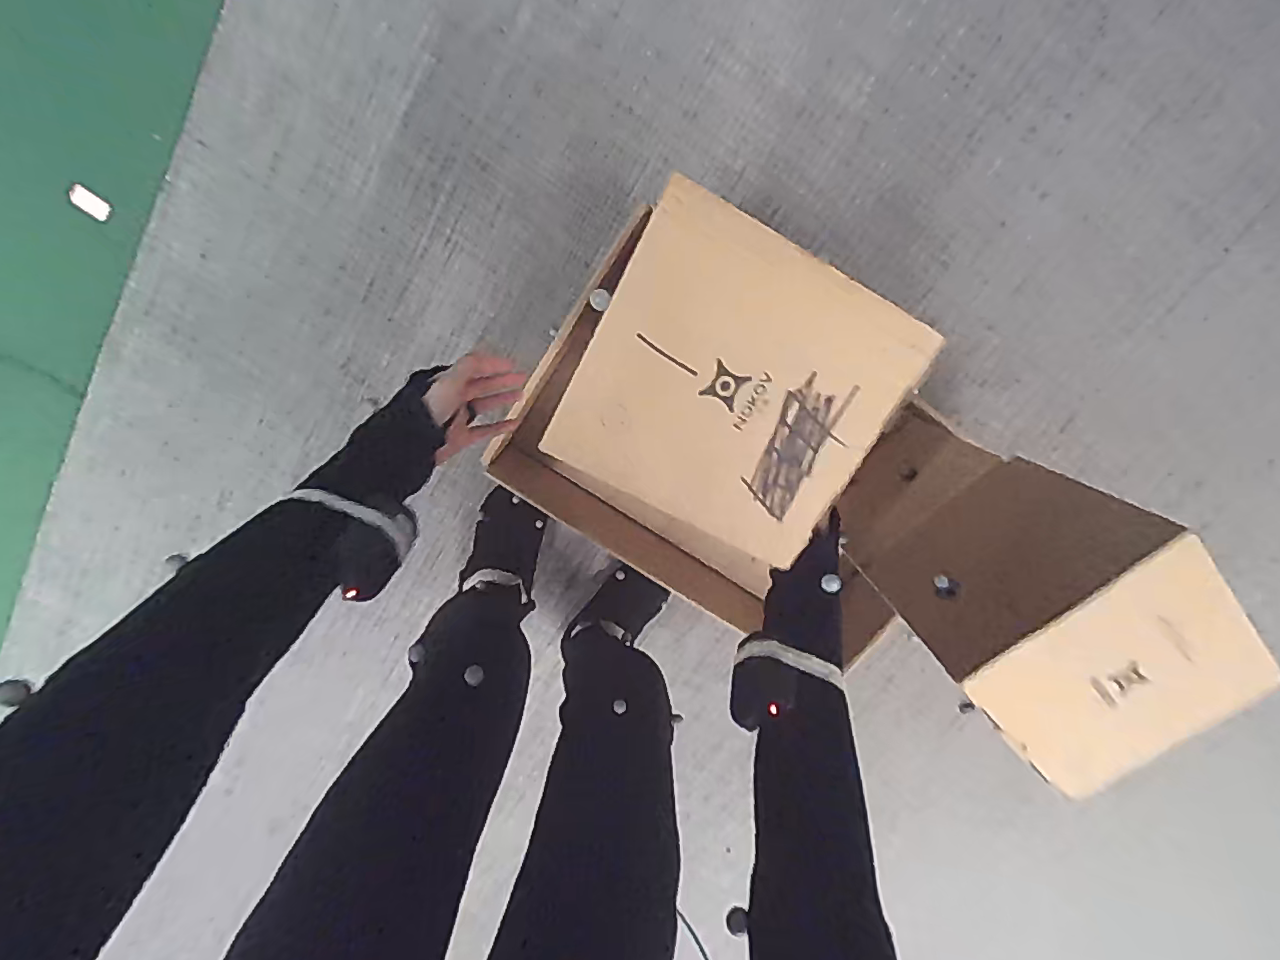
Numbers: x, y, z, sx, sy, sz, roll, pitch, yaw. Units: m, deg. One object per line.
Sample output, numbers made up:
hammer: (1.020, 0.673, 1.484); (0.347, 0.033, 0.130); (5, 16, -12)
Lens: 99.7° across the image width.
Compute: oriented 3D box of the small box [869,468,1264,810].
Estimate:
small box: (0.323, 0.119, 0.454); (0.179, 0.176, 0.168); (-40, 106, 12)

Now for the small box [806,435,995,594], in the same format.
small box: (0.318, 0.067, 0.609); (0.168, 0.176, 0.179); (-43, 104, 13)
